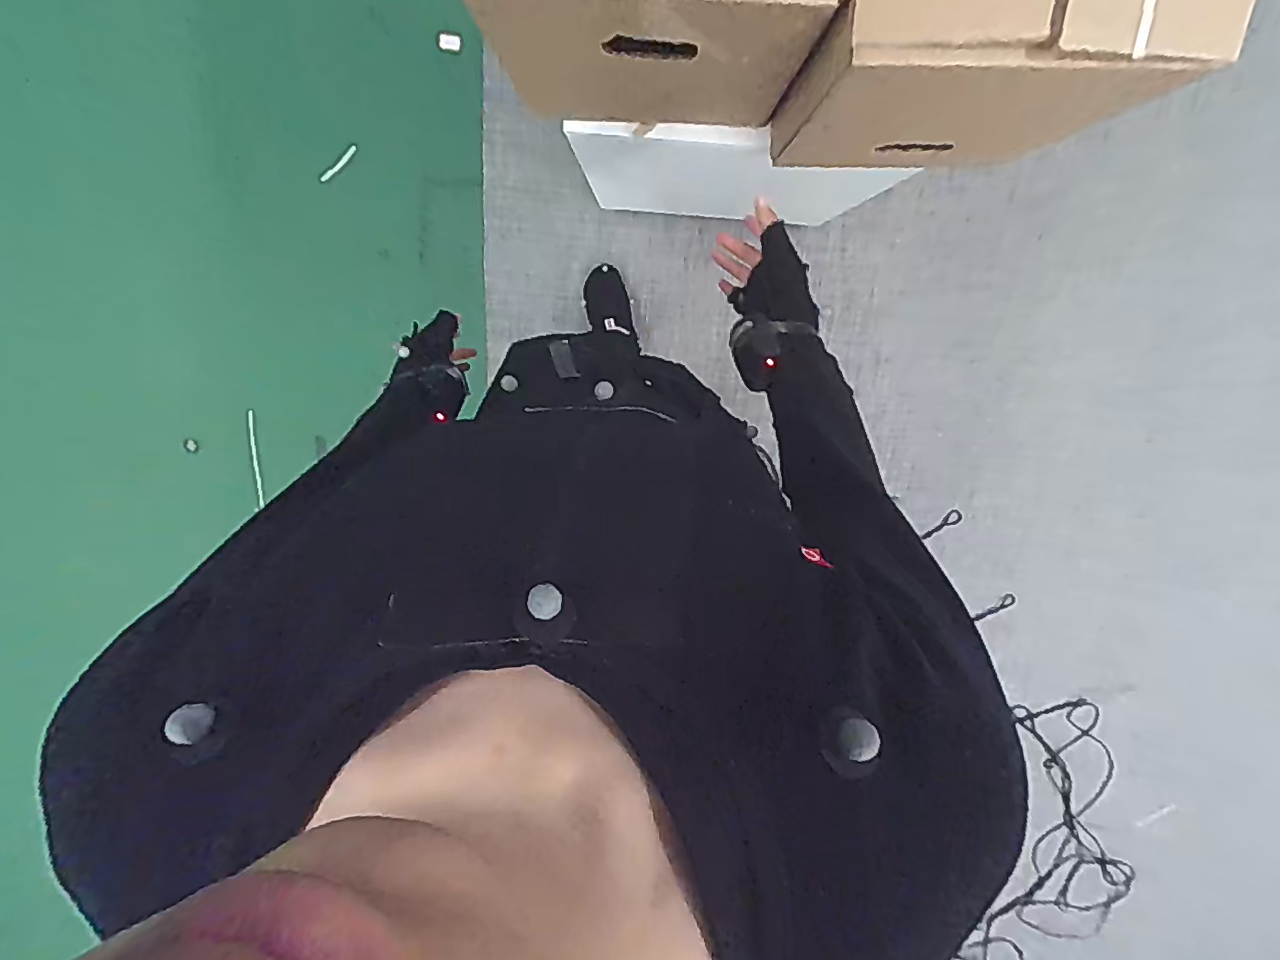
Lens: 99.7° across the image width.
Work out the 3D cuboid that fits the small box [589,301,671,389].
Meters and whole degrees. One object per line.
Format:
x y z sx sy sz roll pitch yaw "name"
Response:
-0.032 -0.337 1.335 0.168 0.176 0.179 5 111 -12 "small box"
